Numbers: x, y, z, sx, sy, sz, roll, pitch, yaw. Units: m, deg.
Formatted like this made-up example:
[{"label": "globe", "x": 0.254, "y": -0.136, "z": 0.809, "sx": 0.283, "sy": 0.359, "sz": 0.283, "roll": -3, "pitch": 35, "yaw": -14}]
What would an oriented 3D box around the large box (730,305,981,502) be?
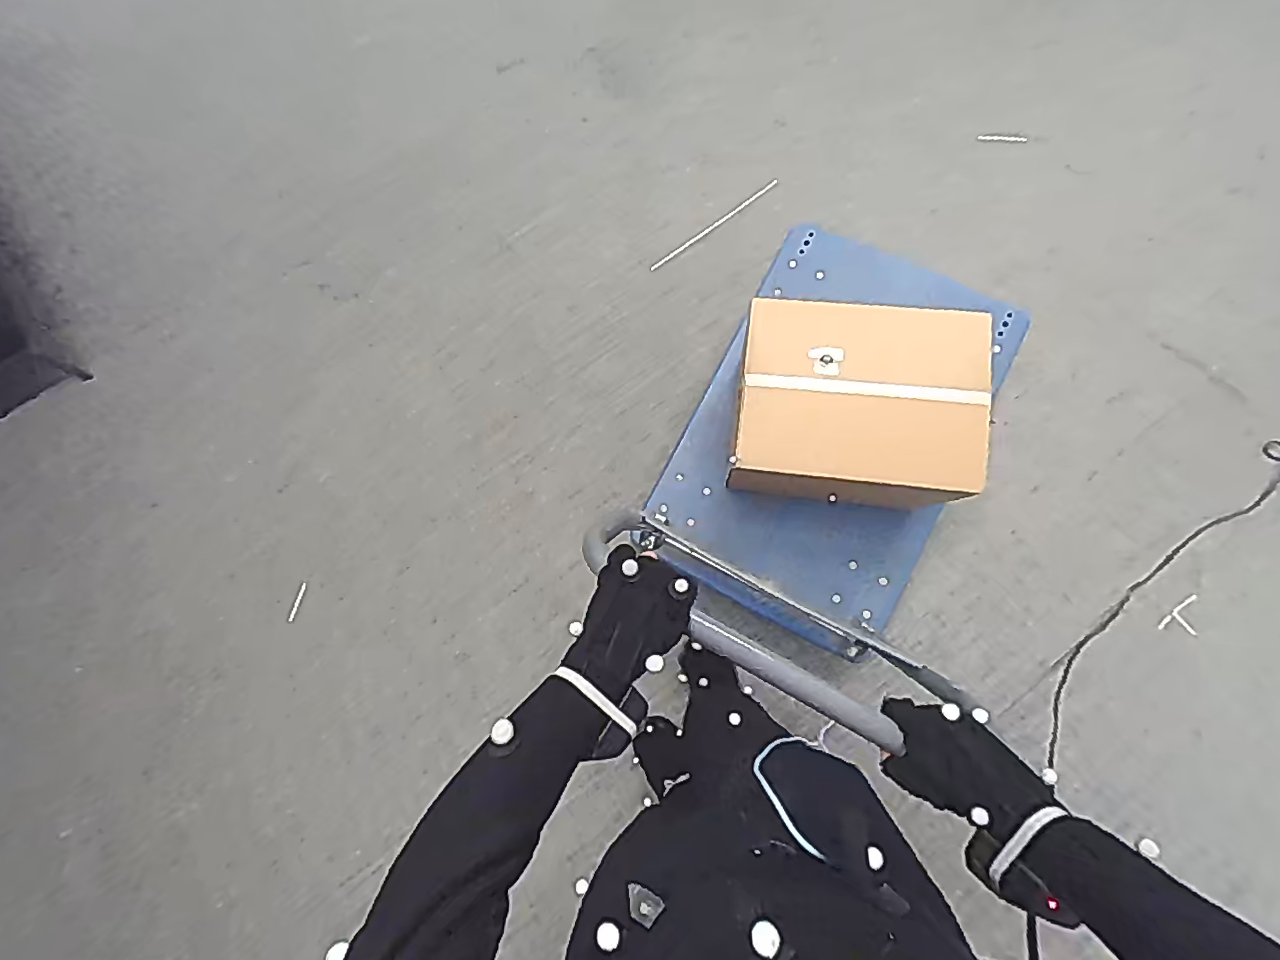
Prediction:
[{"label": "large box", "x": 0.397, "y": -0.134, "z": 1.082, "sx": 0.408, "sy": 0.320, "sz": 0.320, "roll": 6, "pitch": 82, "yaw": 9}]
